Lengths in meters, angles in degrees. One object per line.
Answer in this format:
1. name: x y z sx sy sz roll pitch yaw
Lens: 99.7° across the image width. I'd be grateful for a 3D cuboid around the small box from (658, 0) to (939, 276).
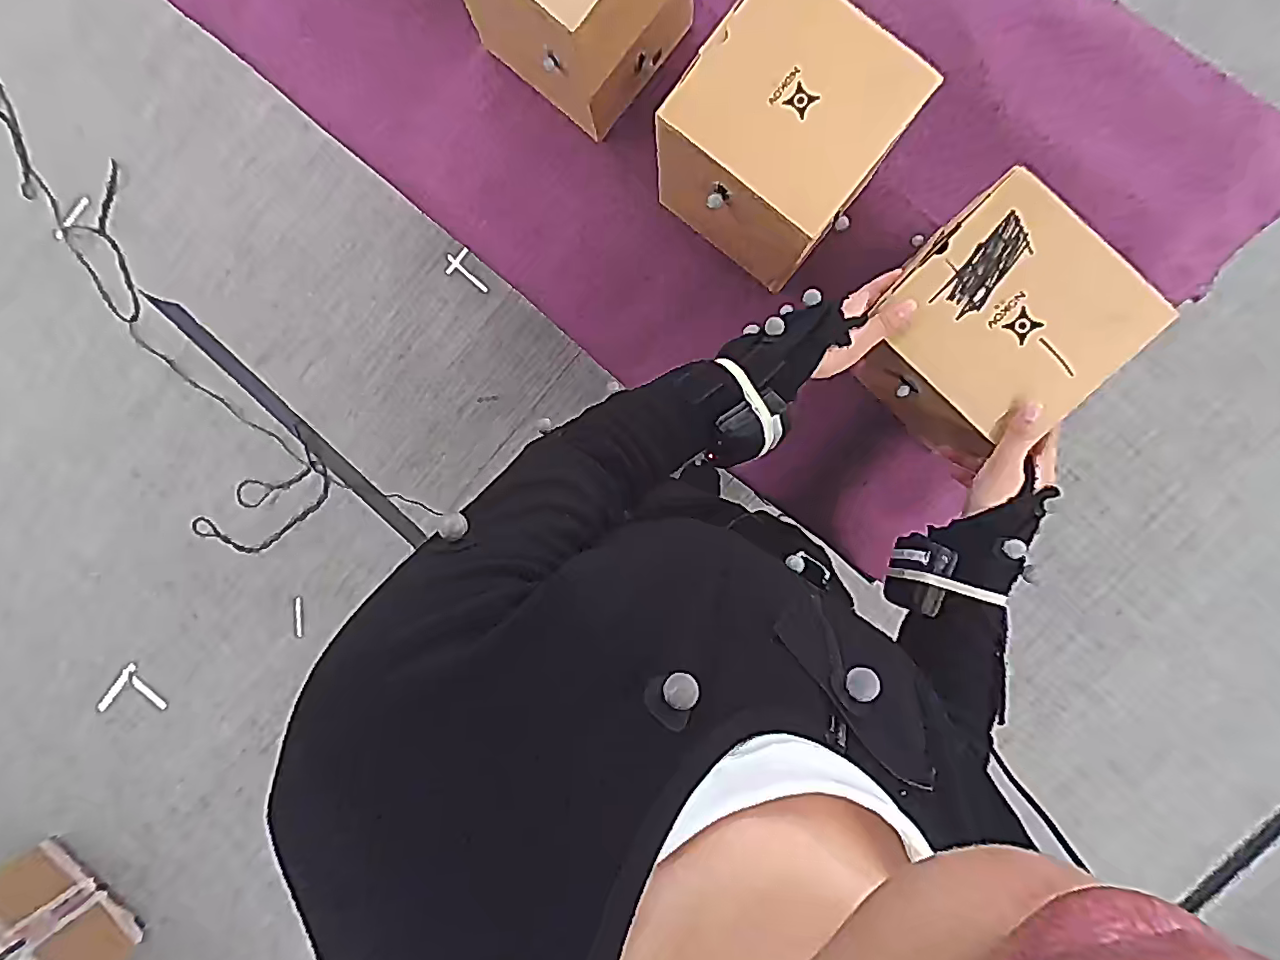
1. small box: 0.137 -0.327 0.532 0.179 0.176 0.168 39 95 1
